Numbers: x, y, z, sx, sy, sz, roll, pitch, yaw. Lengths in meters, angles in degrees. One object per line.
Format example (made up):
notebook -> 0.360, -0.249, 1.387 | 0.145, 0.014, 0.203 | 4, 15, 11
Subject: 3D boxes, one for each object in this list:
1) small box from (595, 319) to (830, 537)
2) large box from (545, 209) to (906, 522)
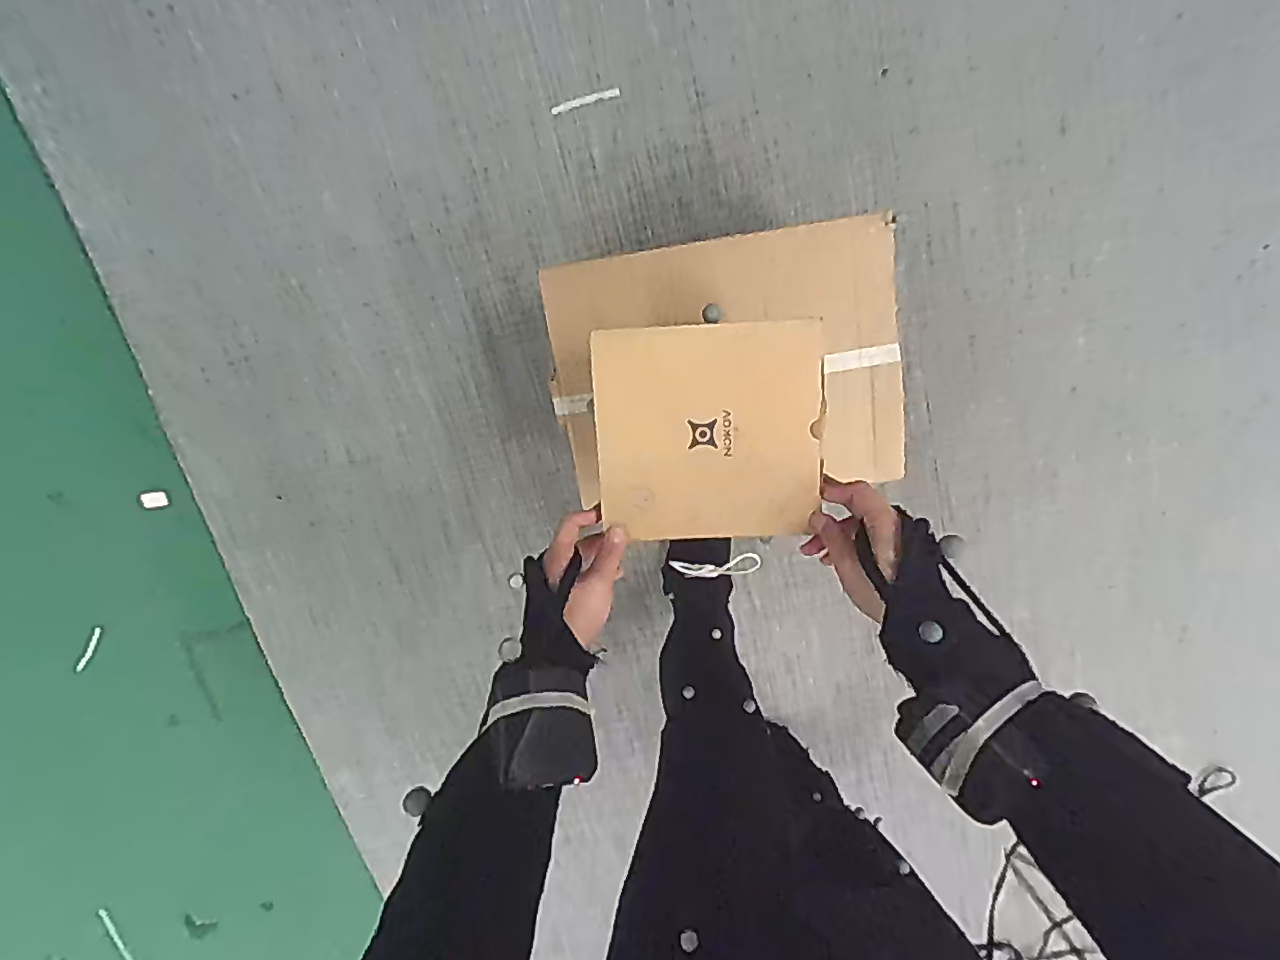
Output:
small box -> 0.059, -0.050, 0.492 | 0.179, 0.176, 0.168 | -2, 101, 2
large box -> 0.108, -0.158, 0.788 | 0.408, 0.320, 0.320 | -9, 104, 2
